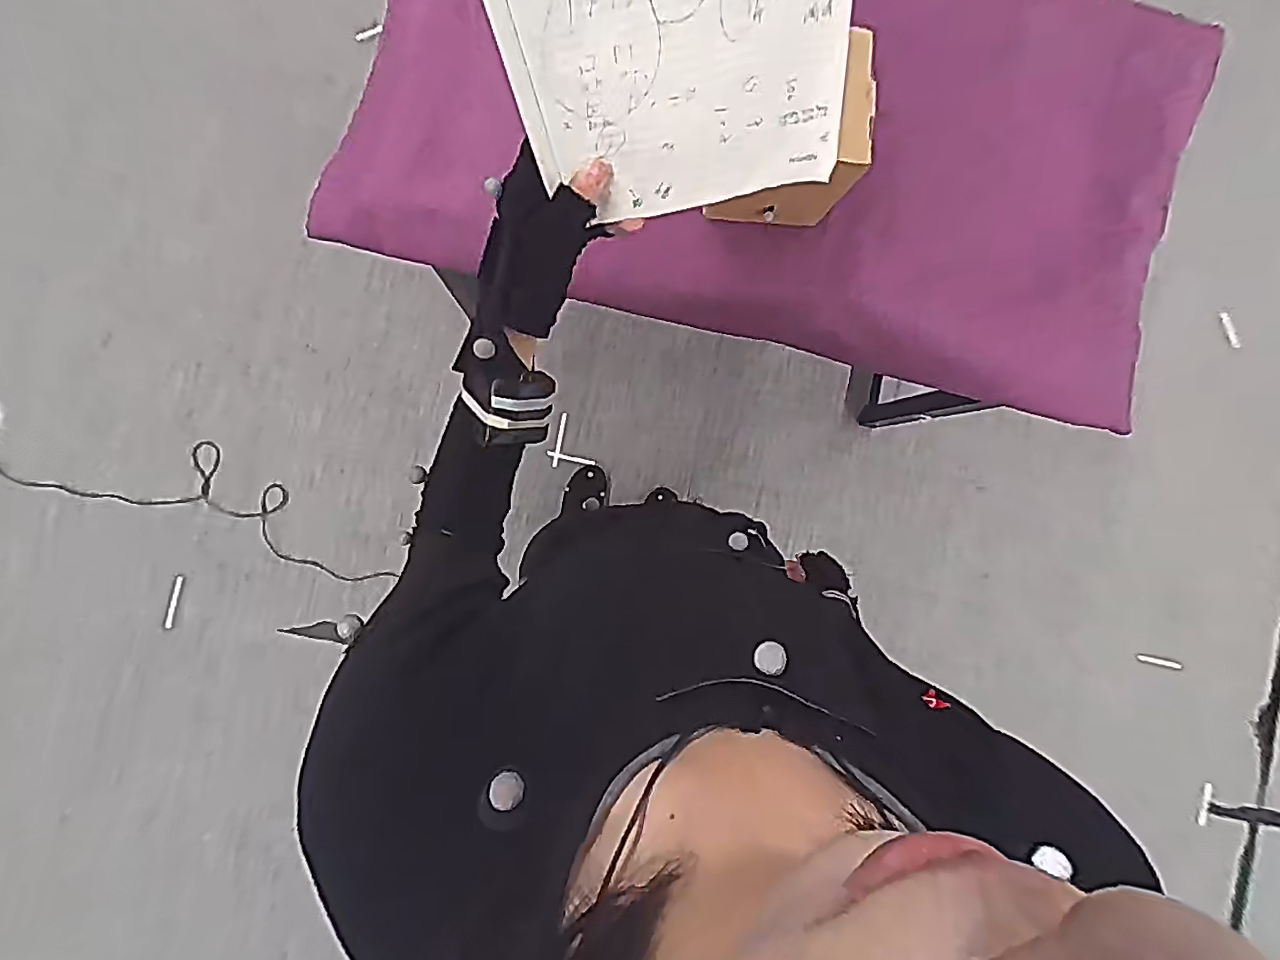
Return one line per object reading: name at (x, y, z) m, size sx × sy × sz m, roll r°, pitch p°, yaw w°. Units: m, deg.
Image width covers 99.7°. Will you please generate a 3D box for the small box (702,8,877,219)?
small box at (0.191, -0.473, 0.727) m, size 0.179 × 0.176 × 0.168 m, roll 1°, pitch 89°, yaw -7°
